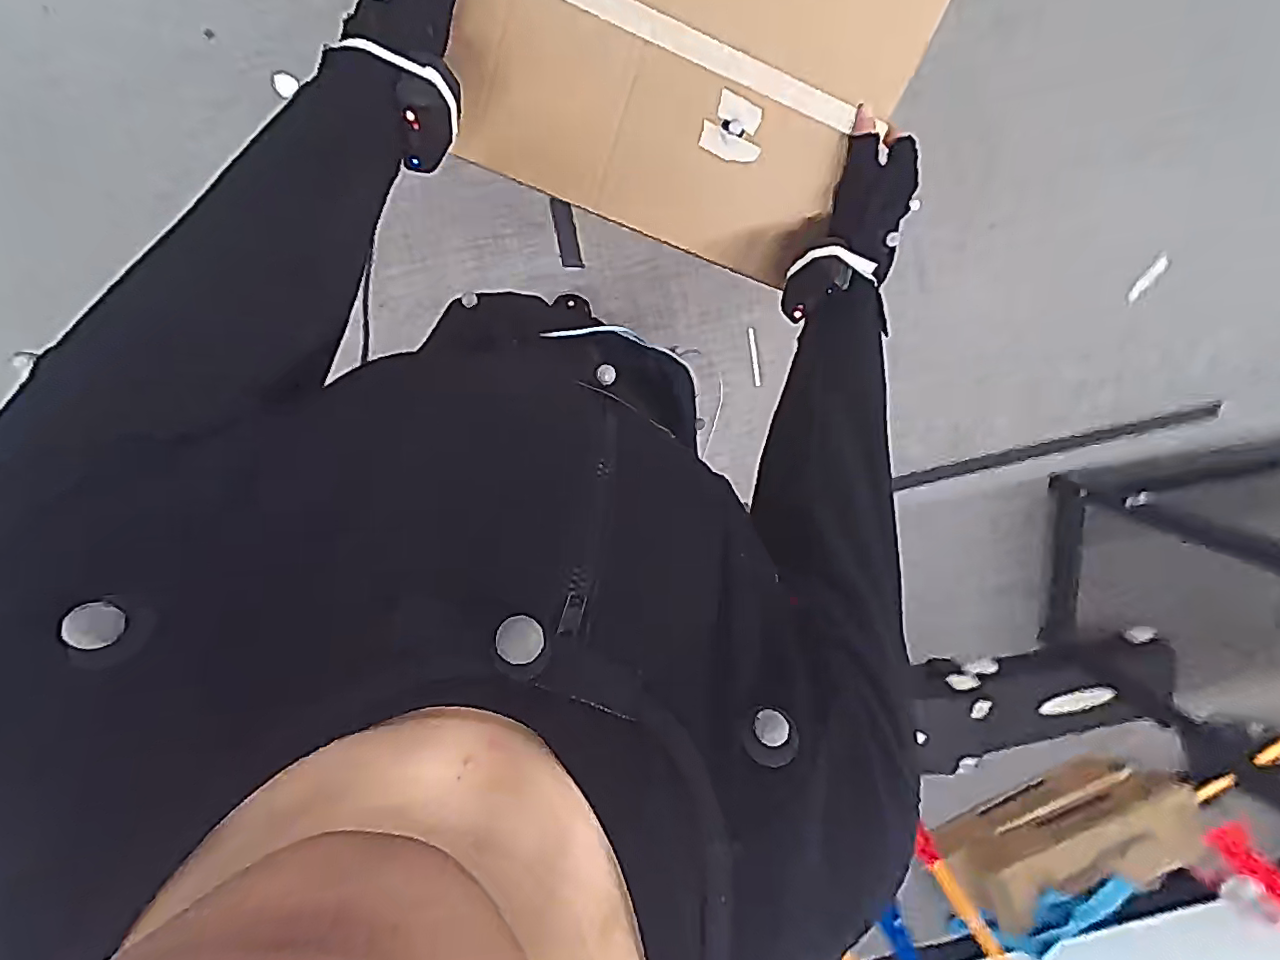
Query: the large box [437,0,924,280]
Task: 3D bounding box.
[{"bbox_3d":[0.027,-0.466,0.625,0.408,0.320,0.320,16,116,-12],"label":"large box"}]
